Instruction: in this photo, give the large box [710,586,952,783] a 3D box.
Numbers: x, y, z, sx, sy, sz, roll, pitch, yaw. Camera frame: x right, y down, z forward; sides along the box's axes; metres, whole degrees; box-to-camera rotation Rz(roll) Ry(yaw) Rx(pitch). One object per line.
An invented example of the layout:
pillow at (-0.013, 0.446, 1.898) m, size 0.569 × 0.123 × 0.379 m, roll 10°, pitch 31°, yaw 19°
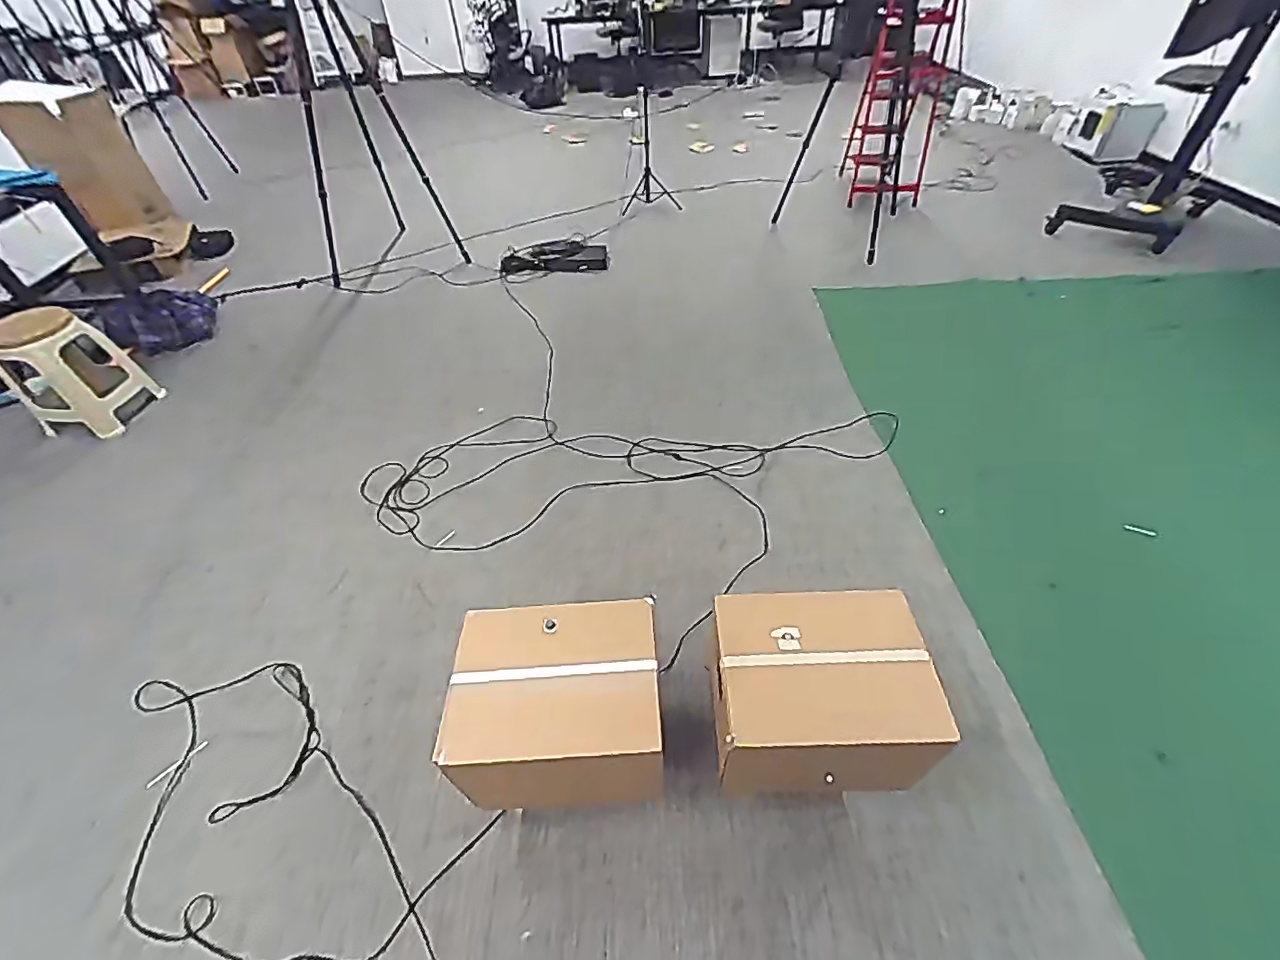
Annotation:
large box at (0.372, 0.453, 1.184) m, size 0.408 × 0.320 × 0.320 m, roll -2°, pitch 46°, yaw 2°
